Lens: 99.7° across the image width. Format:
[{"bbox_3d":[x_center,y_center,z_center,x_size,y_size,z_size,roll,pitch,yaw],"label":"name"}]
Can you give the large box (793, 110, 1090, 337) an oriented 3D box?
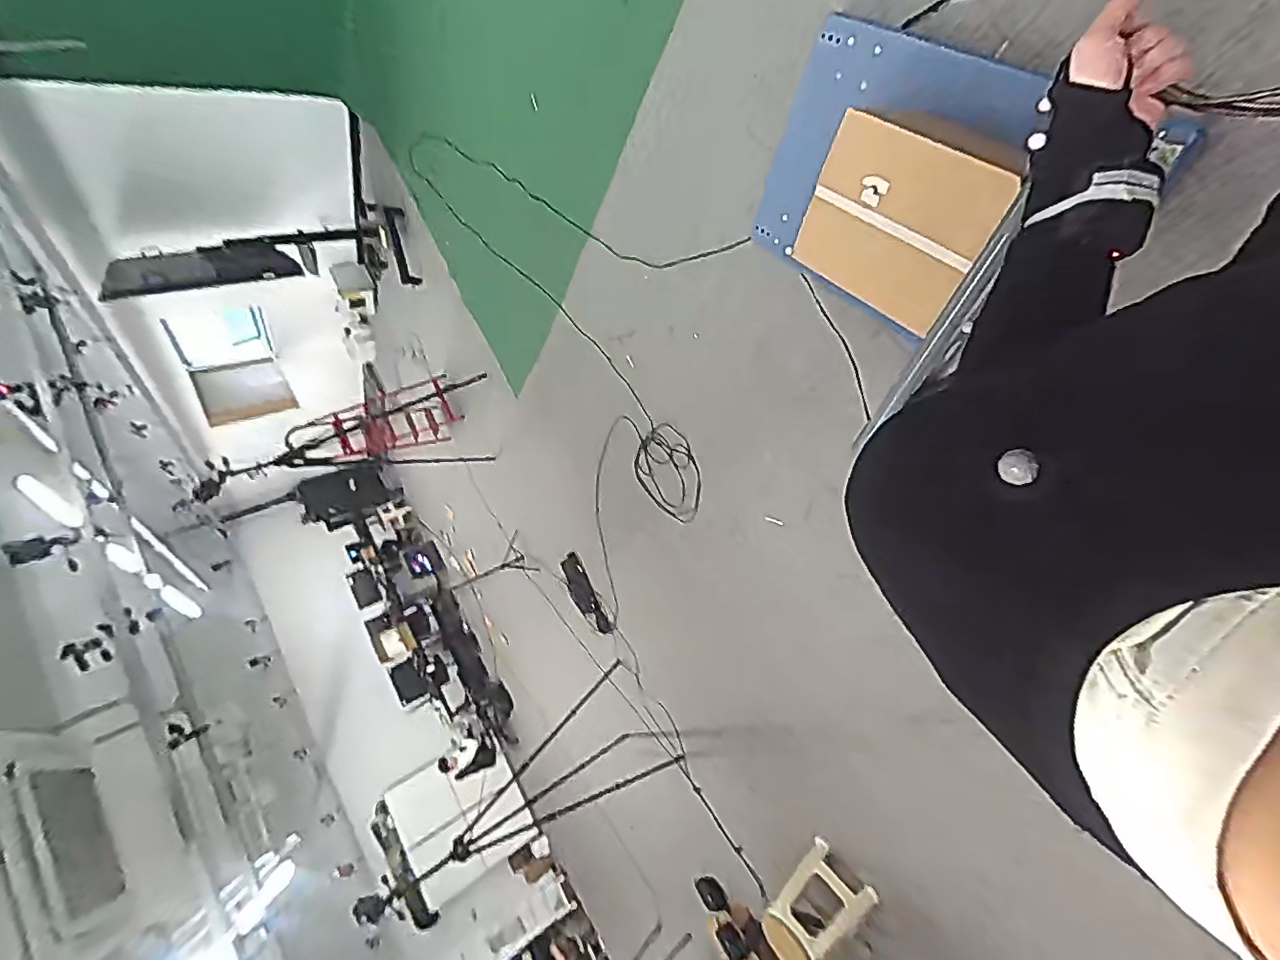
[{"bbox_3d":[0.629,-0.567,1.179,0.408,0.320,0.320,48,142,29],"label":"large box"}]
